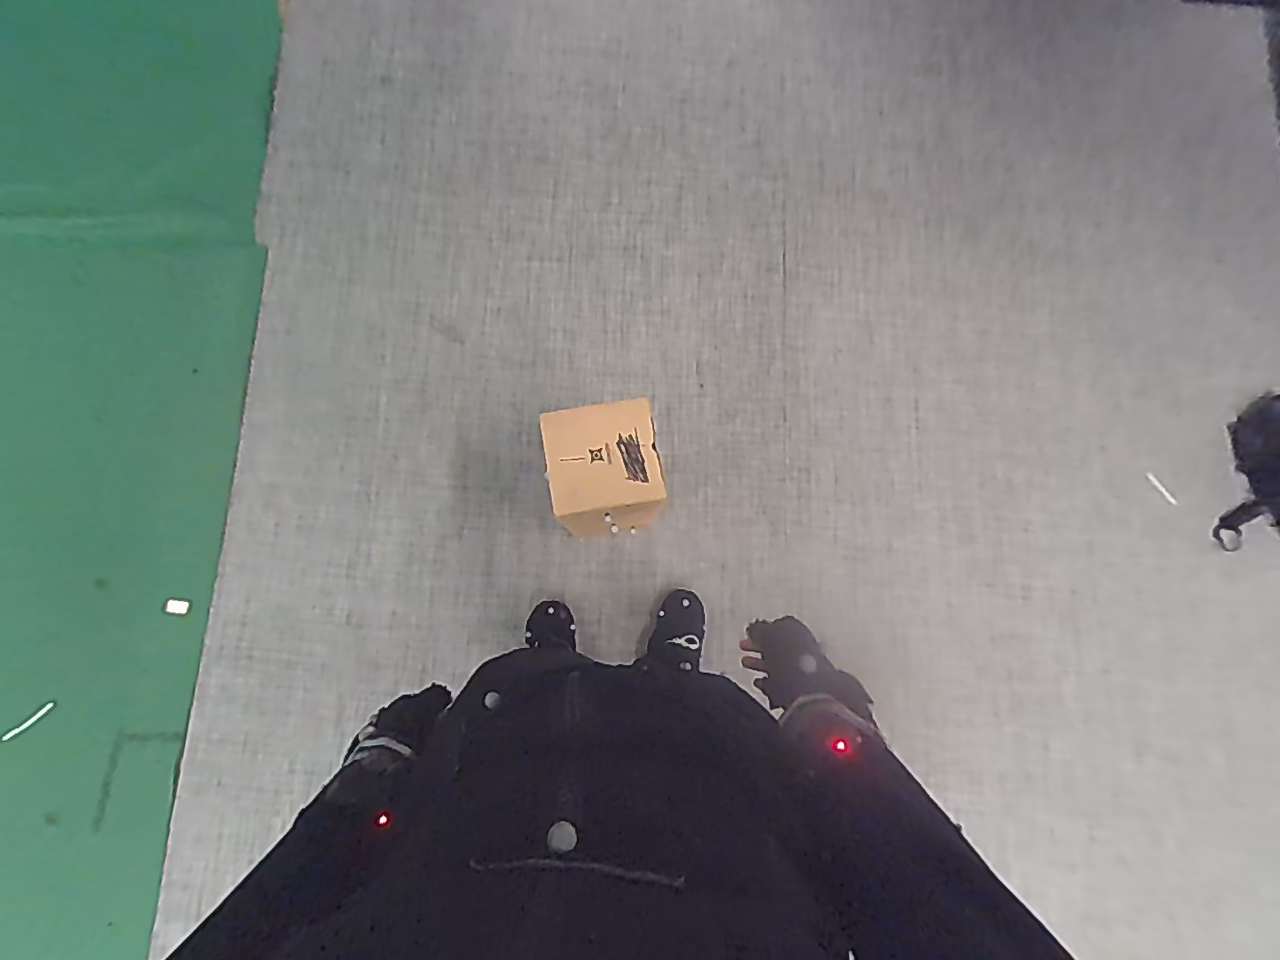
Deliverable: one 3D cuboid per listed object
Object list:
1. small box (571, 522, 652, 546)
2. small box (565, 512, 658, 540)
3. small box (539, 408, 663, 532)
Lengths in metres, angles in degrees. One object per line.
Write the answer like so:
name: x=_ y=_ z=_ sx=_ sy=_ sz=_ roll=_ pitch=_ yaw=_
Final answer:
small box: x=-0.076 y=0.053 z=1.240 sx=0.179 sy=0.176 sz=0.168 roll=-11 pitch=79 yaw=-2
small box: x=-0.069 y=0.022 z=1.082 sx=0.179 sy=0.176 sz=0.168 roll=-13 pitch=81 yaw=-3
small box: x=-0.064 y=-0.010 z=0.918 sx=0.179 sy=0.176 sz=0.168 roll=-9 pitch=80 yaw=-2
